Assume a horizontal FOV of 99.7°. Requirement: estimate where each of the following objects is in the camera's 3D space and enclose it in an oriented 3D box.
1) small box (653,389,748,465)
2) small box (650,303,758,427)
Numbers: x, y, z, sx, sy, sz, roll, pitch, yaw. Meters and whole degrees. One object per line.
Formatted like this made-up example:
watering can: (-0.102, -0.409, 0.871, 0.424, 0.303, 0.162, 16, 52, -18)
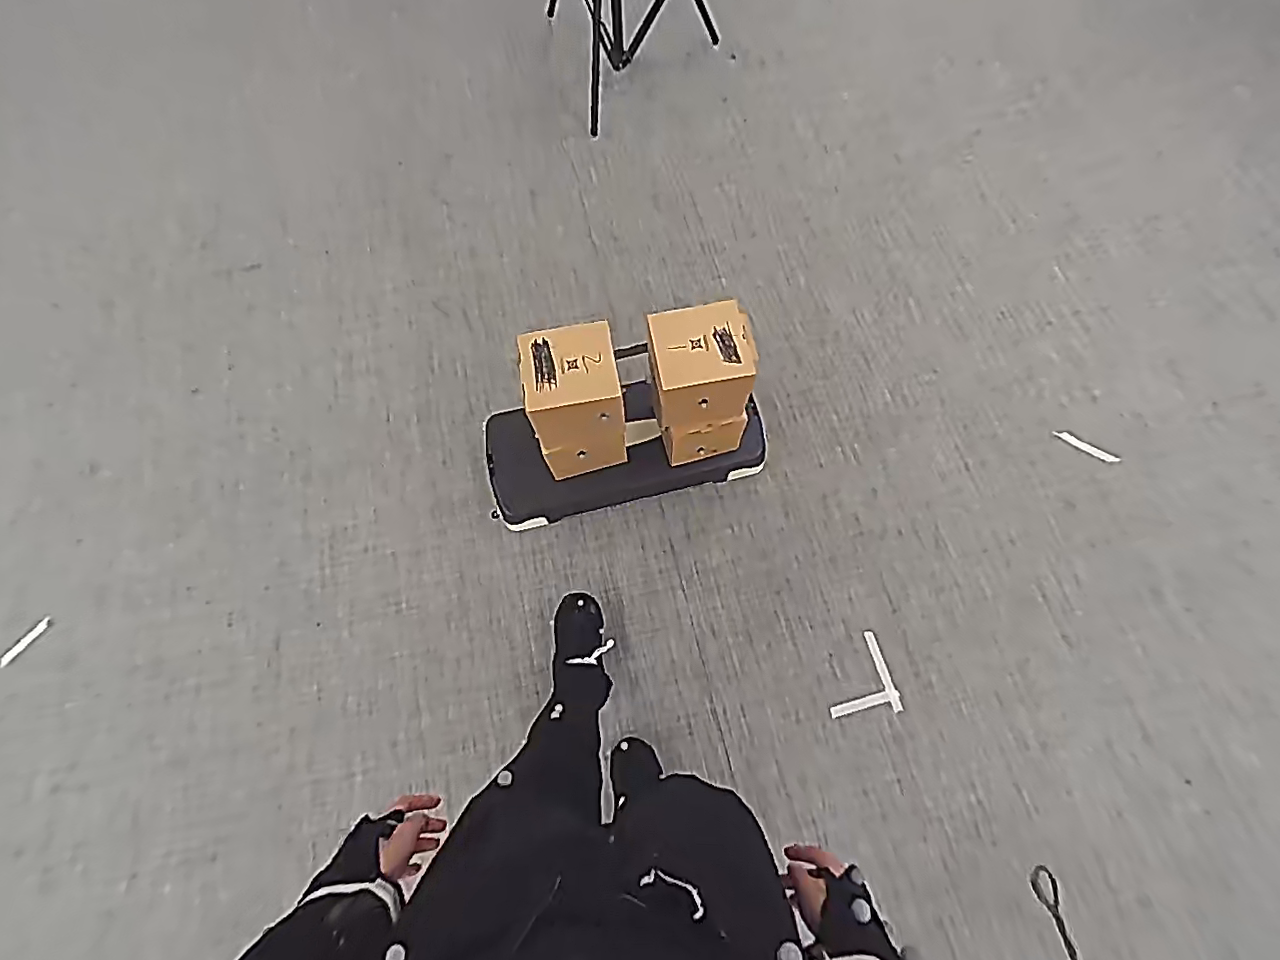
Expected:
small box: (0.127, -0.157, 1.222, 0.168, 0.176, 0.179, -15, 72, -4)
small box: (0.116, -0.222, 1.071, 0.179, 0.176, 0.168, -10, 72, -1)
